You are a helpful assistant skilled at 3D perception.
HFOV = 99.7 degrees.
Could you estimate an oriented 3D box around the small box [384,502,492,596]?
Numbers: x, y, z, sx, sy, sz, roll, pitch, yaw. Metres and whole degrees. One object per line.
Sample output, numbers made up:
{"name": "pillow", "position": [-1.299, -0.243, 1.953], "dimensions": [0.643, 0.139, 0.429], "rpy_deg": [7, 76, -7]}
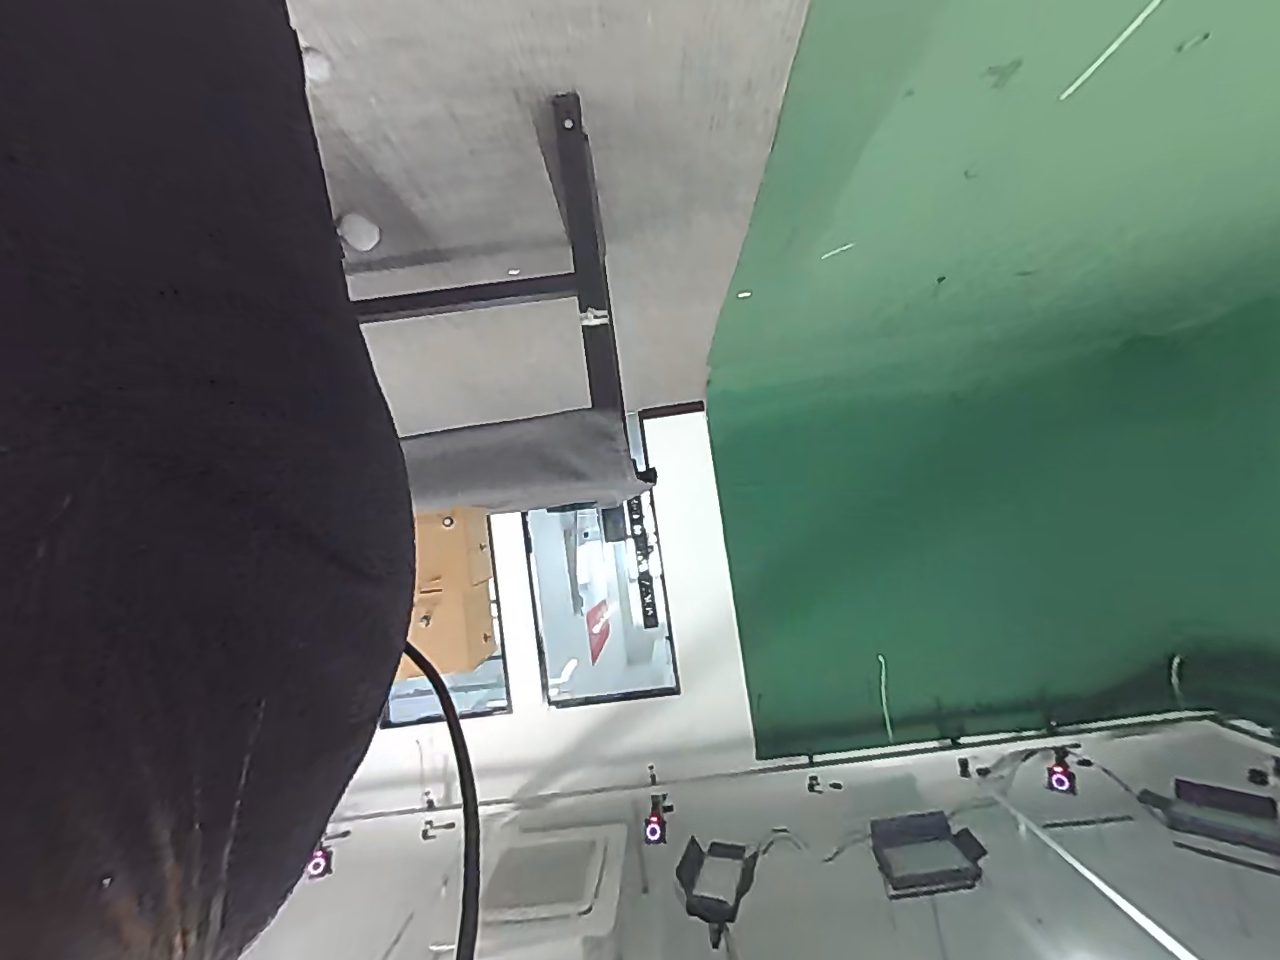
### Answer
{"name": "small box", "position": [-0.428, 0.141, 1.159], "dimensions": [0.168, 0.176, 0.179], "rpy_deg": [-7, 177, -2]}

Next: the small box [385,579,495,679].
{"name": "small box", "position": [-0.421, 0.306, 1.156], "dimensions": [0.168, 0.176, 0.179], "rpy_deg": [-8, 176, 1]}
